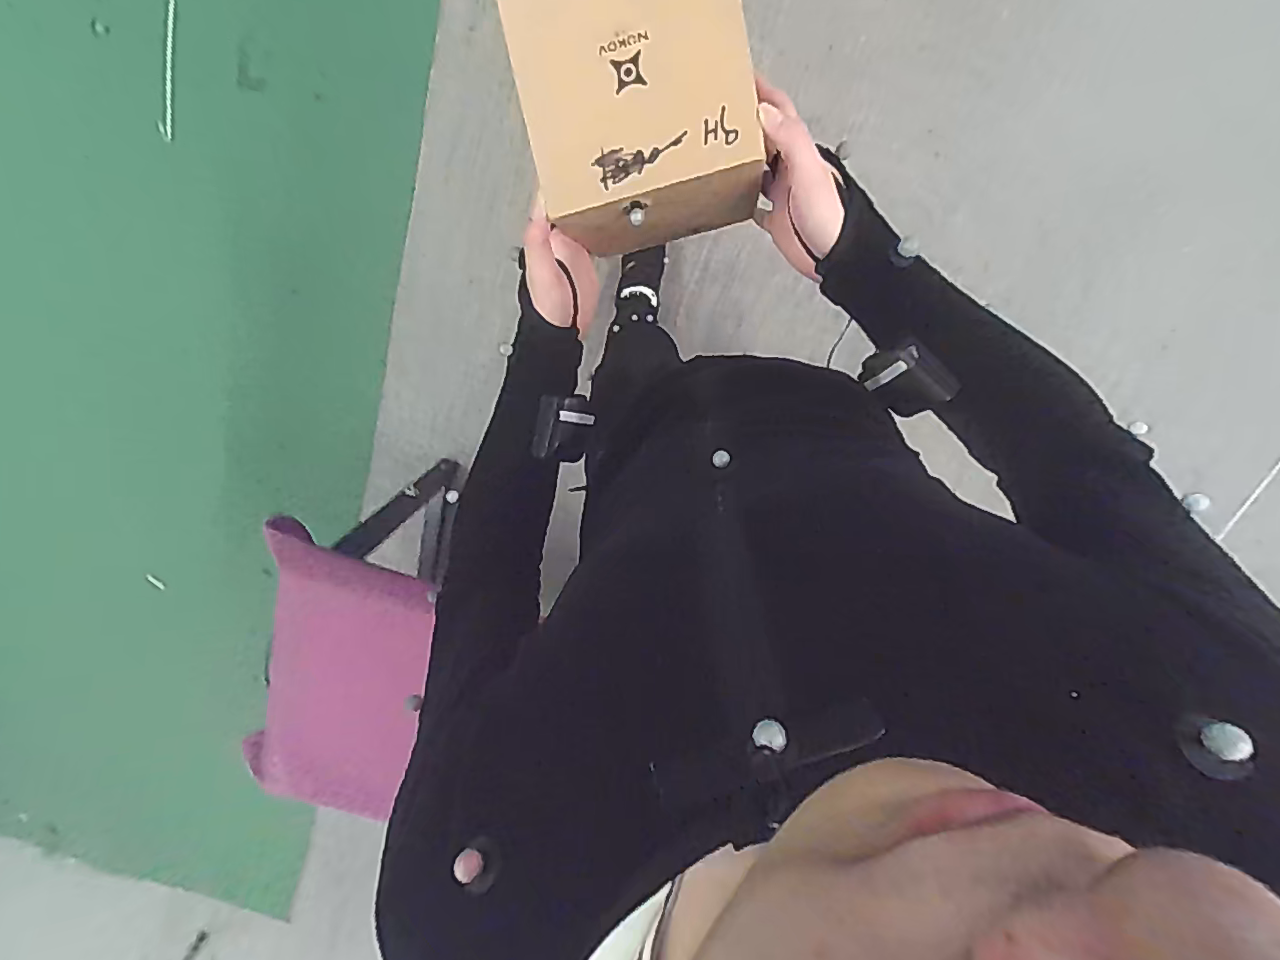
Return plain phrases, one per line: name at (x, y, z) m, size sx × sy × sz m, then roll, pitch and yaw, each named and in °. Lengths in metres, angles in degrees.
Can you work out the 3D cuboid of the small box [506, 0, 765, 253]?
small box at (0.006, -0.313, 0.453) m, size 0.168 × 0.176 × 0.179 m, roll -9°, pitch 100°, yaw 11°
